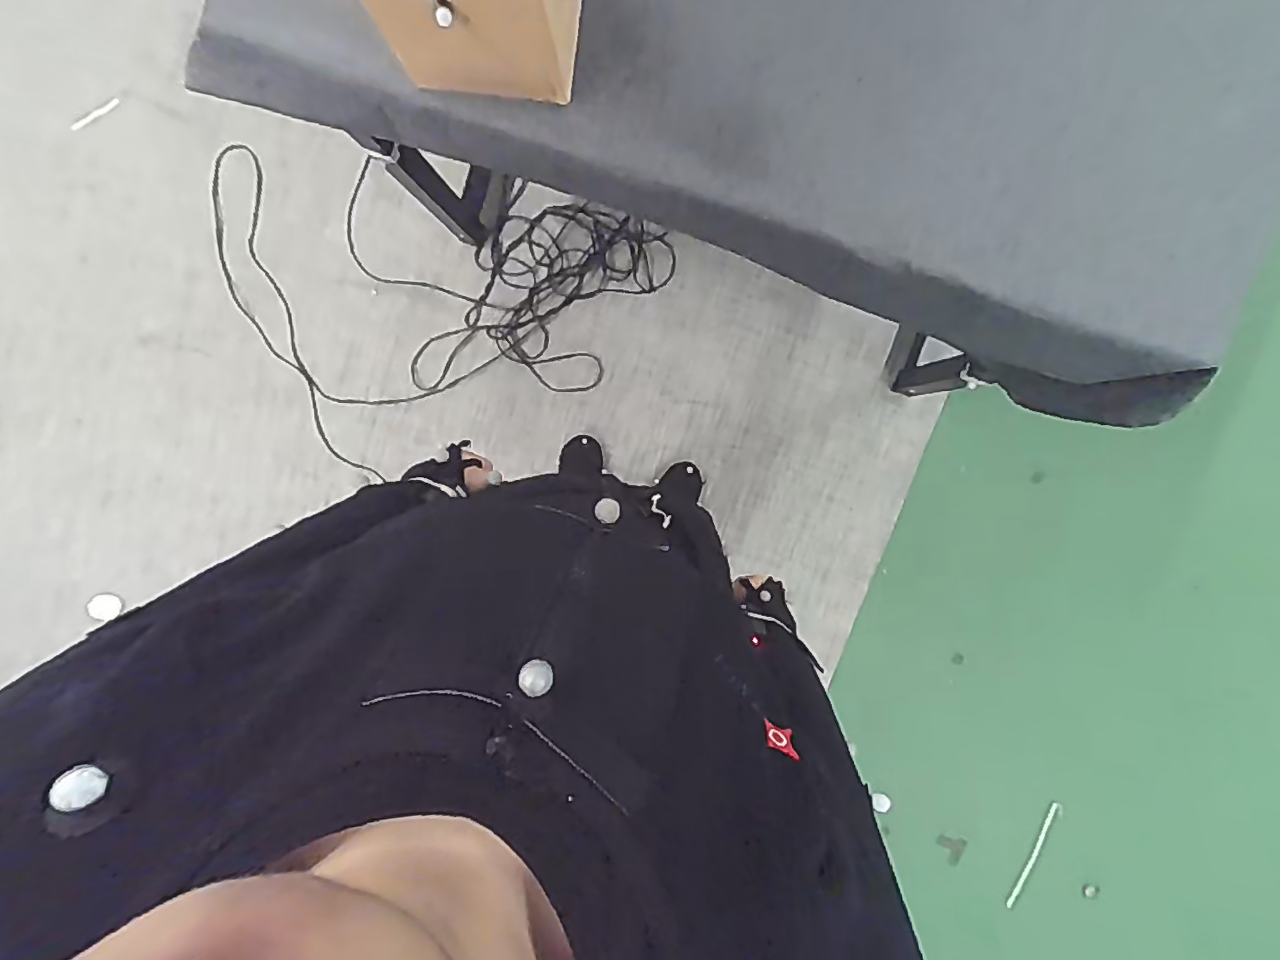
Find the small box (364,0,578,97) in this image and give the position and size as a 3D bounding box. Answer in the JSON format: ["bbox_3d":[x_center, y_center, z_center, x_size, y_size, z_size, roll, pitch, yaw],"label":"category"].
[{"bbox_3d":[-0.153,-0.503,0.513,0.179,0.176,0.168,8,94,1],"label":"small box"}]
